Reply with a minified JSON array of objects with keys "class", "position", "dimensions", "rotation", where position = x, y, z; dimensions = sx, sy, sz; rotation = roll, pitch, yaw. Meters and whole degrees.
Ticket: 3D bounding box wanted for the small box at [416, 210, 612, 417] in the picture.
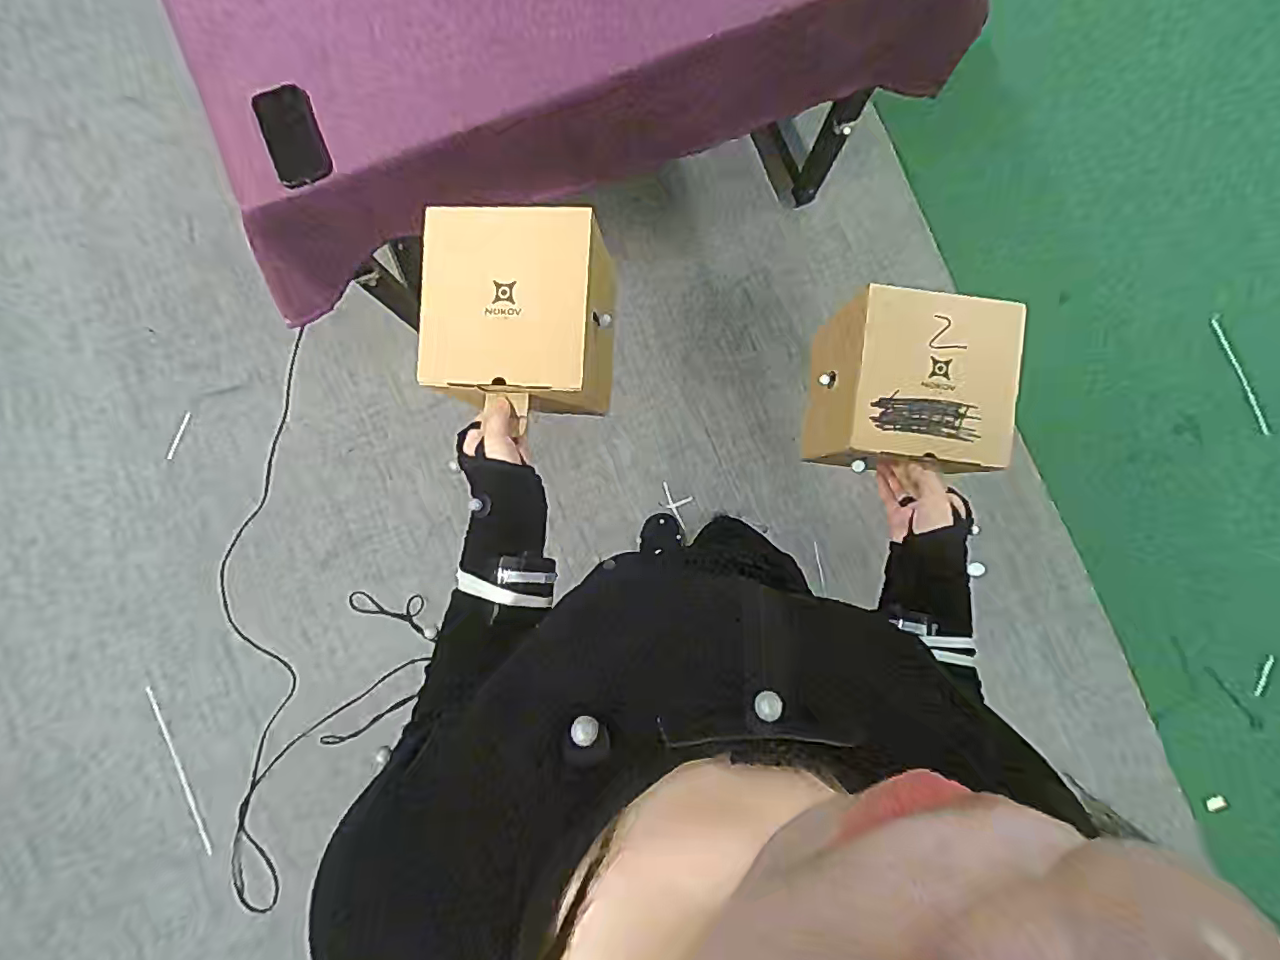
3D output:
[{"class":"small box","position":[-0.125,-0.170,0.596],"dimensions":[0.168,0.176,0.179],"rotation":[3,90,5]}]
